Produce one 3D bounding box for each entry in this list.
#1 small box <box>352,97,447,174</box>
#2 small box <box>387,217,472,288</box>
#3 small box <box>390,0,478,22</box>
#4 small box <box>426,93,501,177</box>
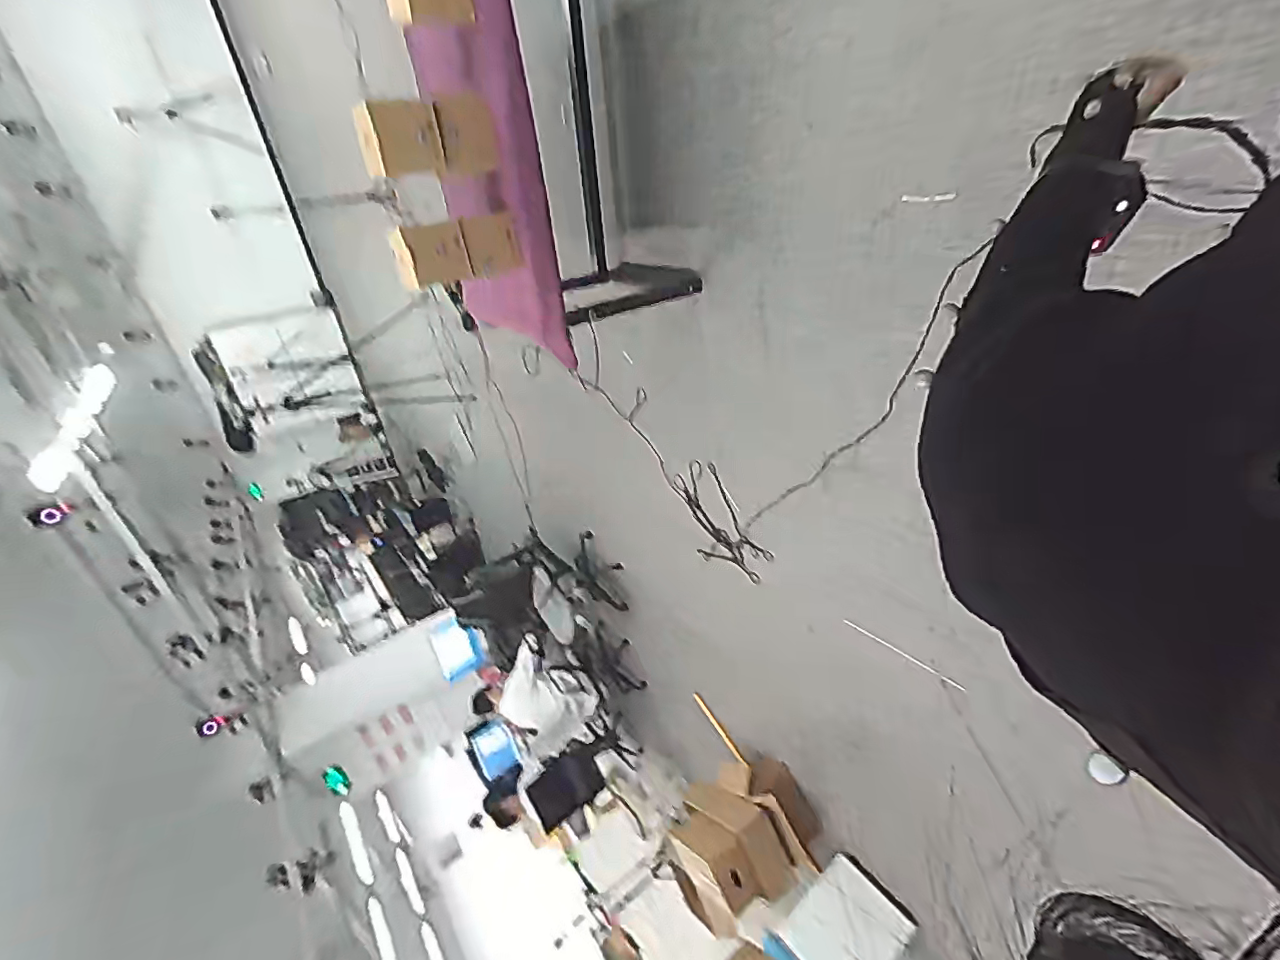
[{"bbox_3d":[-0.641,-0.921,1.452,0.179,0.176,0.168,31,136,44],"label":"small box"},{"bbox_3d":[-0.614,-0.671,1.596,0.179,0.176,0.168,22,129,50],"label":"small box"},{"bbox_3d":[-0.525,-1.260,1.345,0.168,0.176,0.179,40,144,38],"label":"small box"},{"bbox_3d":[-0.515,-0.981,1.540,0.168,0.176,0.179,24,130,49],"label":"small box"}]
